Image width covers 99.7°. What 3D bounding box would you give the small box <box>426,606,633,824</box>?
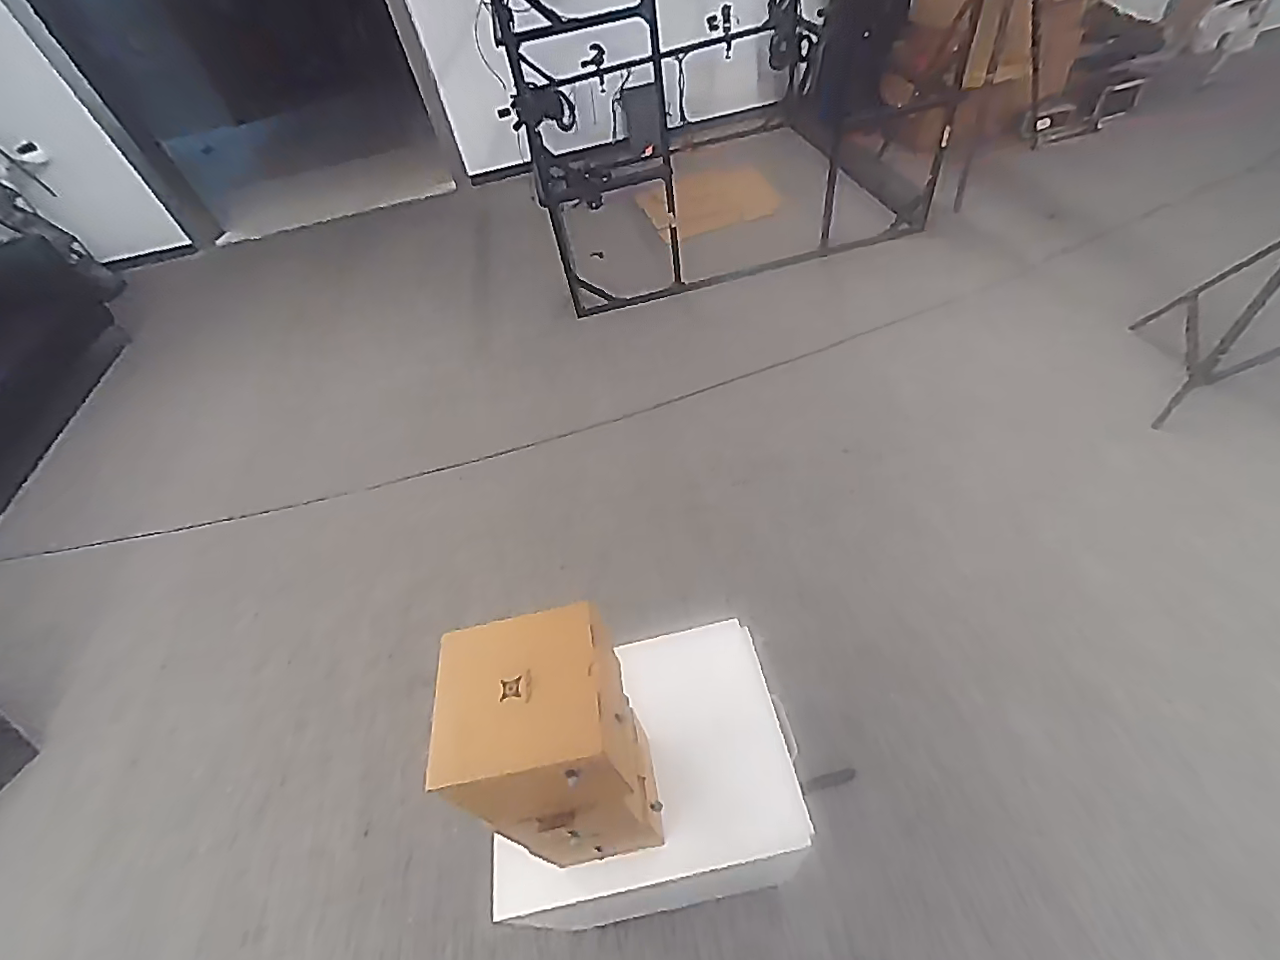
[{"bbox_3d":[-0.115,0.272,0.618,0.179,0.176,0.168,-12,47,0],"label":"small box"}]

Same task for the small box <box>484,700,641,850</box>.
[{"bbox_3d":[-0.099,0.379,0.739,0.168,0.176,0.179,-12,48,2],"label":"small box"}]
